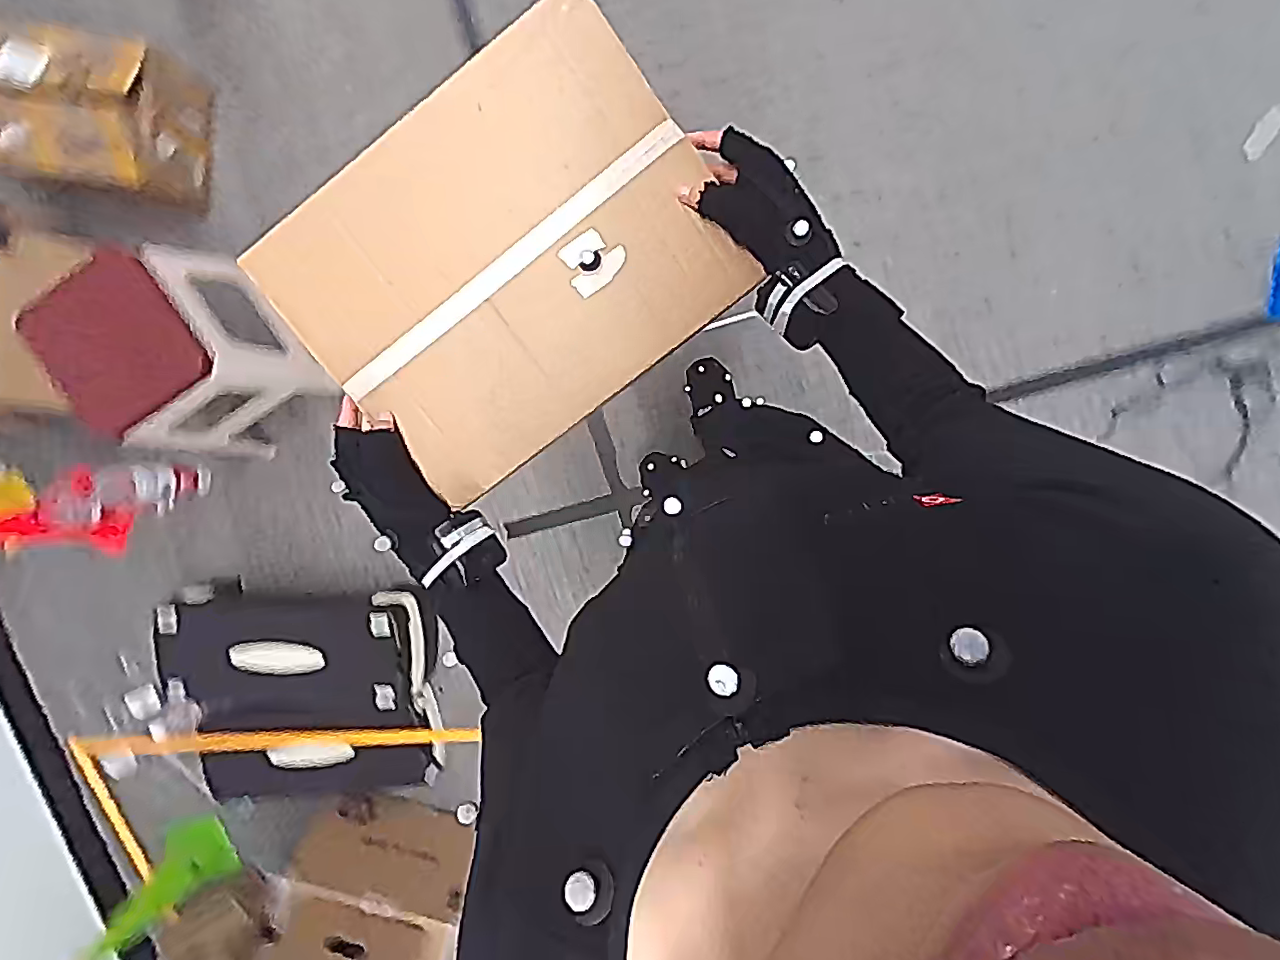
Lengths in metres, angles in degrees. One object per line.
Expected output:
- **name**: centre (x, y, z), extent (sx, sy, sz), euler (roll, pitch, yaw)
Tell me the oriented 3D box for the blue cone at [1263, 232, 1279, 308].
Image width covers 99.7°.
- **blue cone**: centre (1.656, -0.504, 1.181), extent (0.192, 0.380, 0.193), euler (4, 97, 3)
